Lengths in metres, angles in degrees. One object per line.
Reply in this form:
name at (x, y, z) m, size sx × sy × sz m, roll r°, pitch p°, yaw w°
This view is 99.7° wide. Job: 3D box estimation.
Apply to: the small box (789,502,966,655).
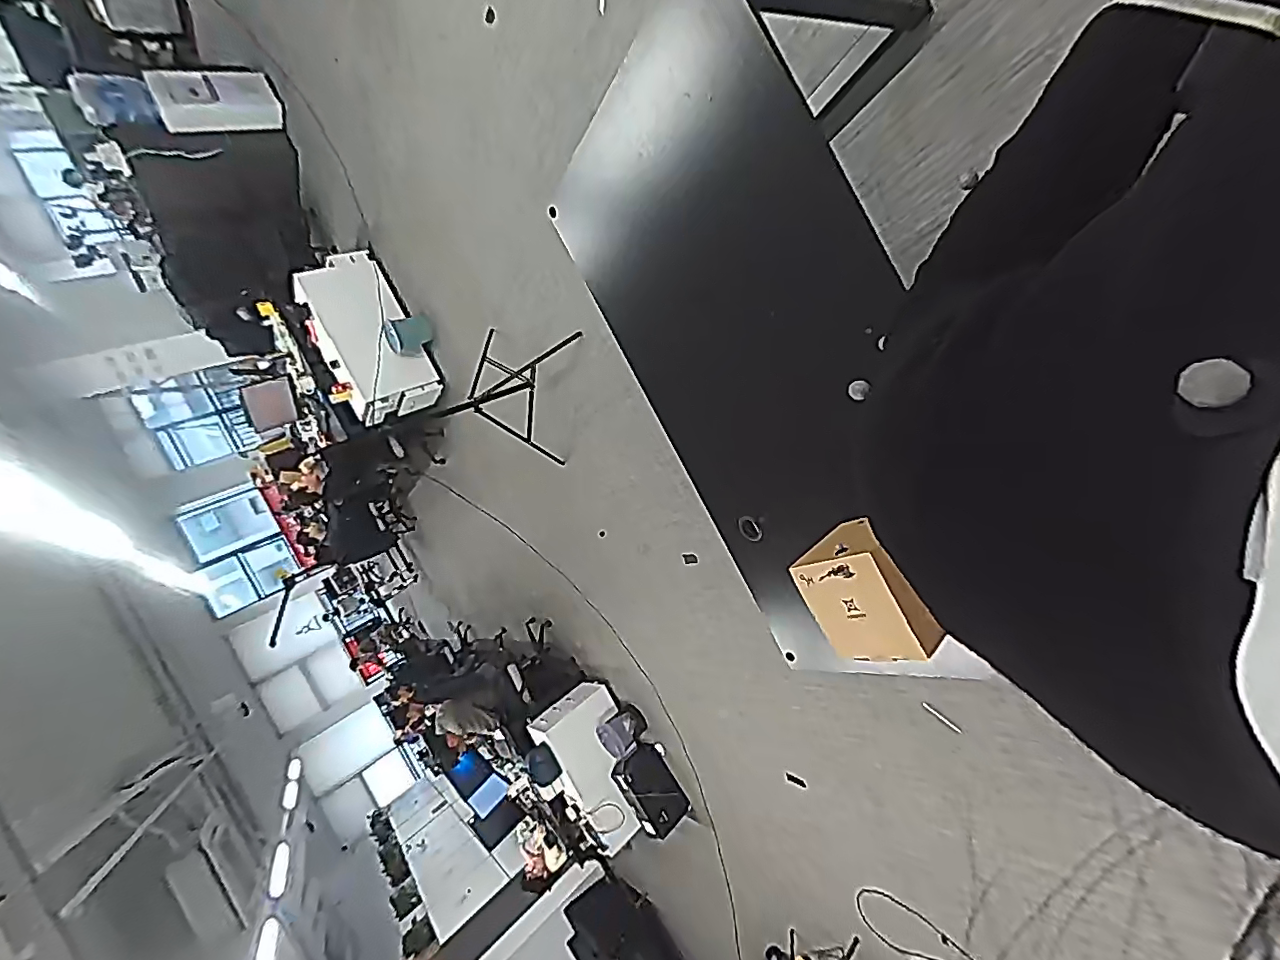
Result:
small box at (0.385, 0.160, 0.875) m, size 0.179 × 0.176 × 0.168 m, roll 60°, pitch 147°, yaw 0°
